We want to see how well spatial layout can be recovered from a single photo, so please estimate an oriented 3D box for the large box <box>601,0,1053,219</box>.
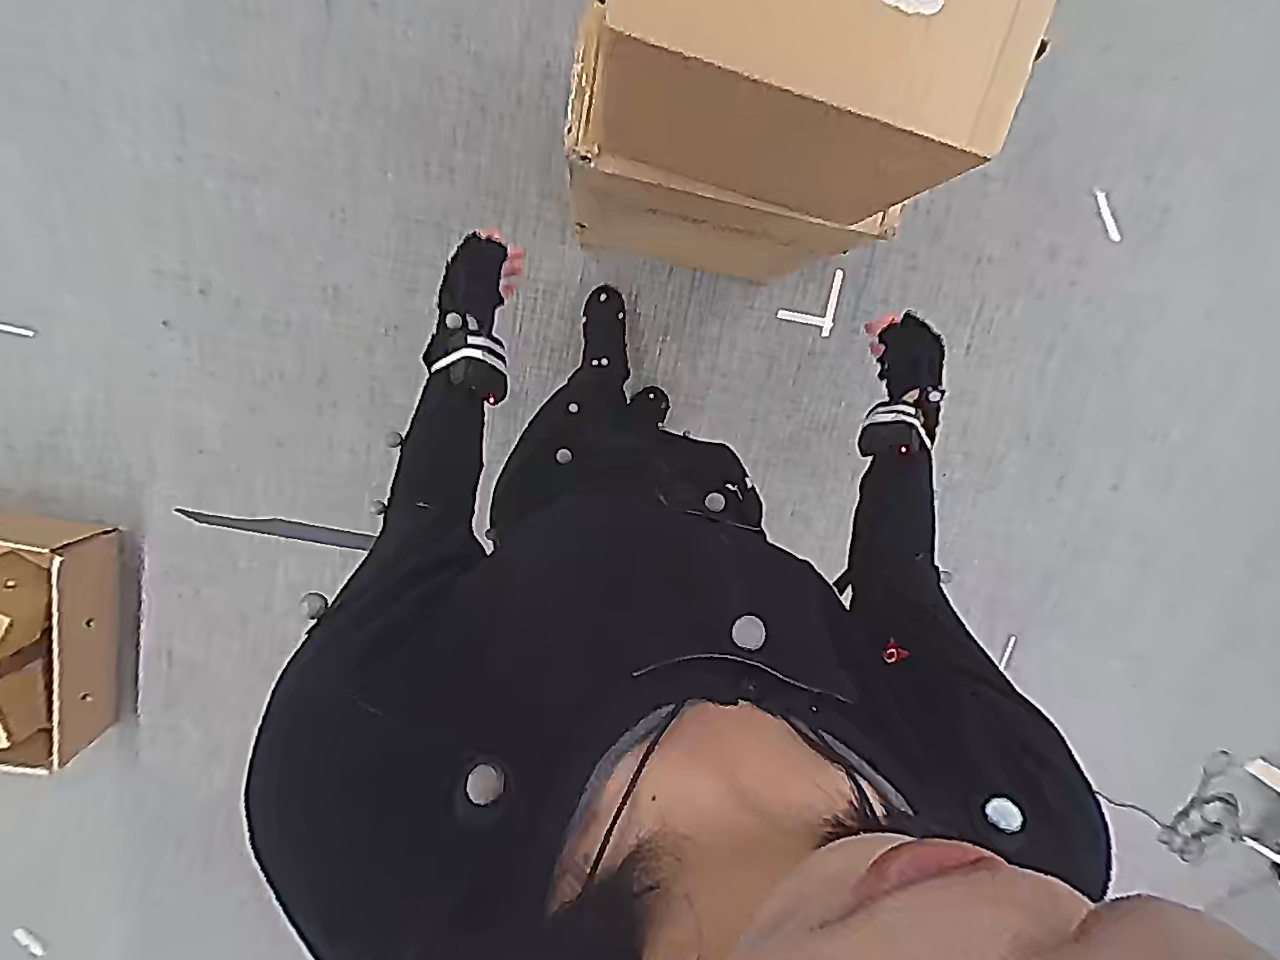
[{"bbox_3d":[0.182,-0.540,0.617,0.408,0.320,0.320,12,103,-9],"label":"large box"}]
